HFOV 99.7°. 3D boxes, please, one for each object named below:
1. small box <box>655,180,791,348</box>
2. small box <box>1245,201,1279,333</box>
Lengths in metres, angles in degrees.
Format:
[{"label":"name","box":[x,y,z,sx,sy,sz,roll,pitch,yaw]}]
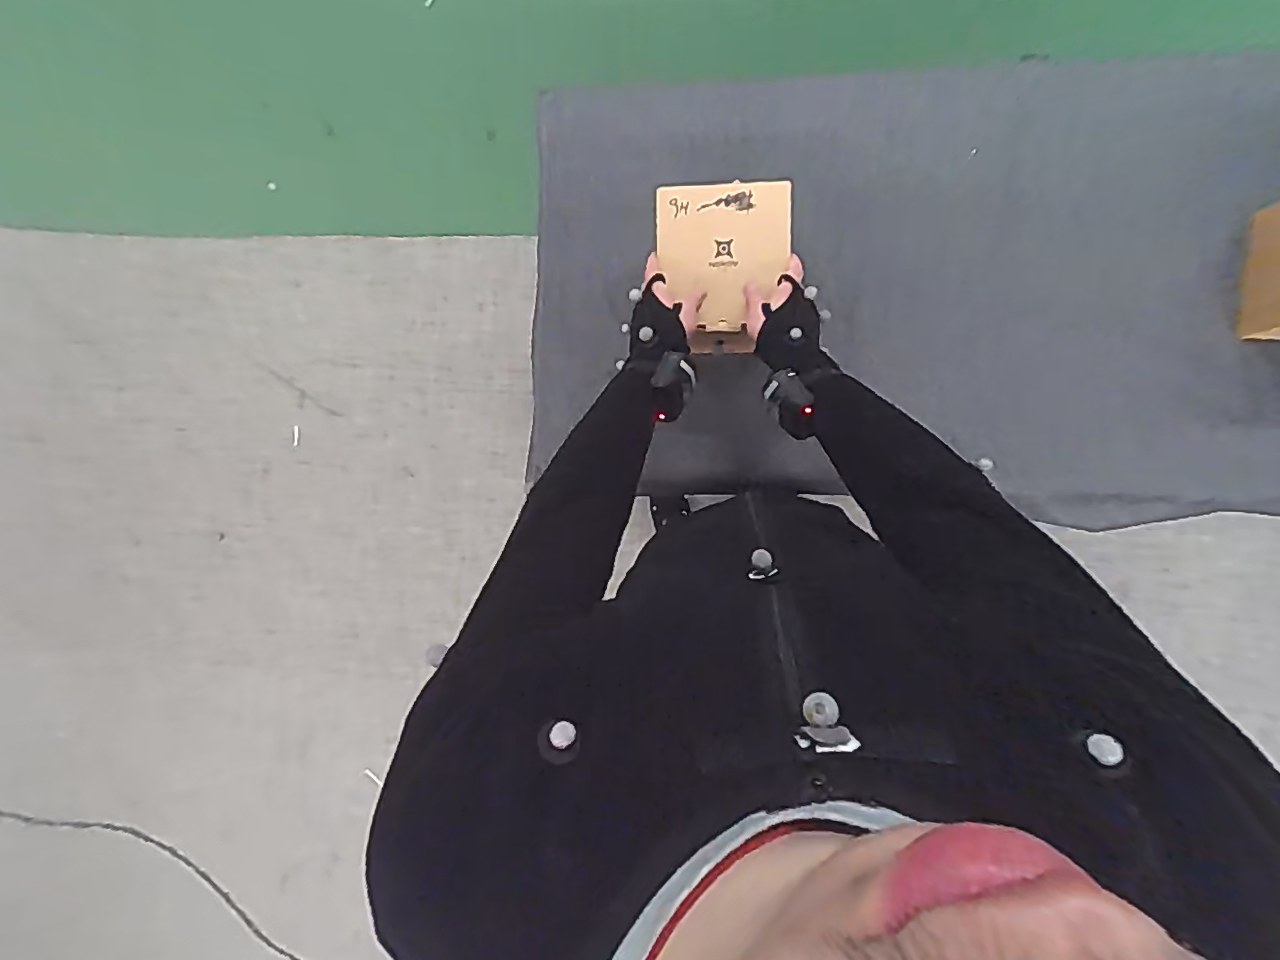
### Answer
[{"label":"small box","box":[0.109,-0.280,0.742,0.168,0.176,0.179,0,92,5]},{"label":"small box","box":[0.911,-0.278,0.658,0.168,0.176,0.179,4,91,5]}]
